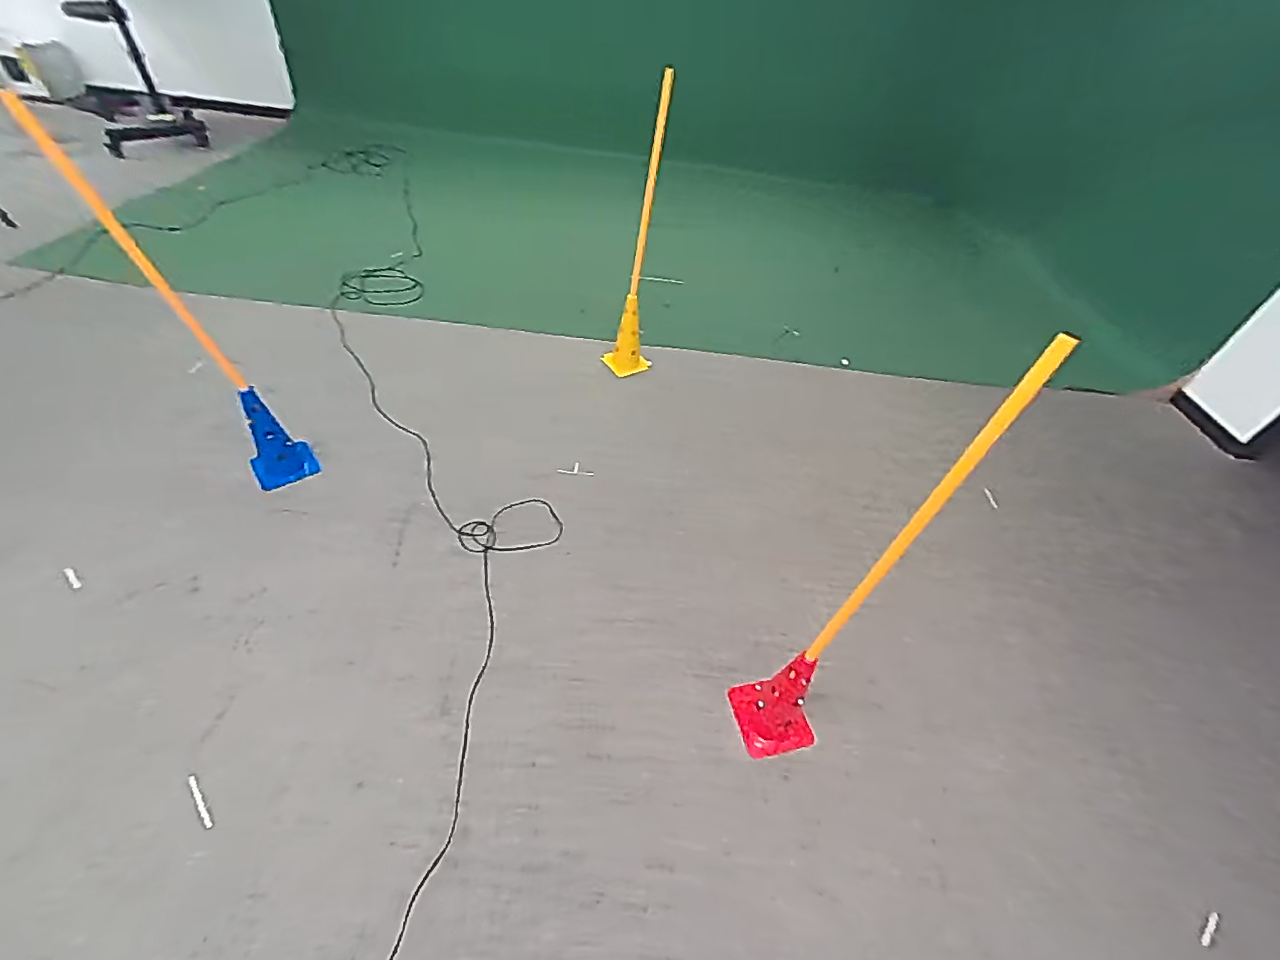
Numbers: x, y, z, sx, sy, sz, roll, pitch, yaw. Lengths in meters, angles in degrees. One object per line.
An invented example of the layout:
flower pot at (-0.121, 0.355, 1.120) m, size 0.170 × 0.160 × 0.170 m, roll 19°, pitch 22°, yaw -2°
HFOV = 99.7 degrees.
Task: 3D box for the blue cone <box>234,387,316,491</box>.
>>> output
blue cone at (-1.296, -0.155, 1.867) m, size 0.193 × 0.380 × 0.192 m, roll -30°, pitch 57°, yaw -30°
